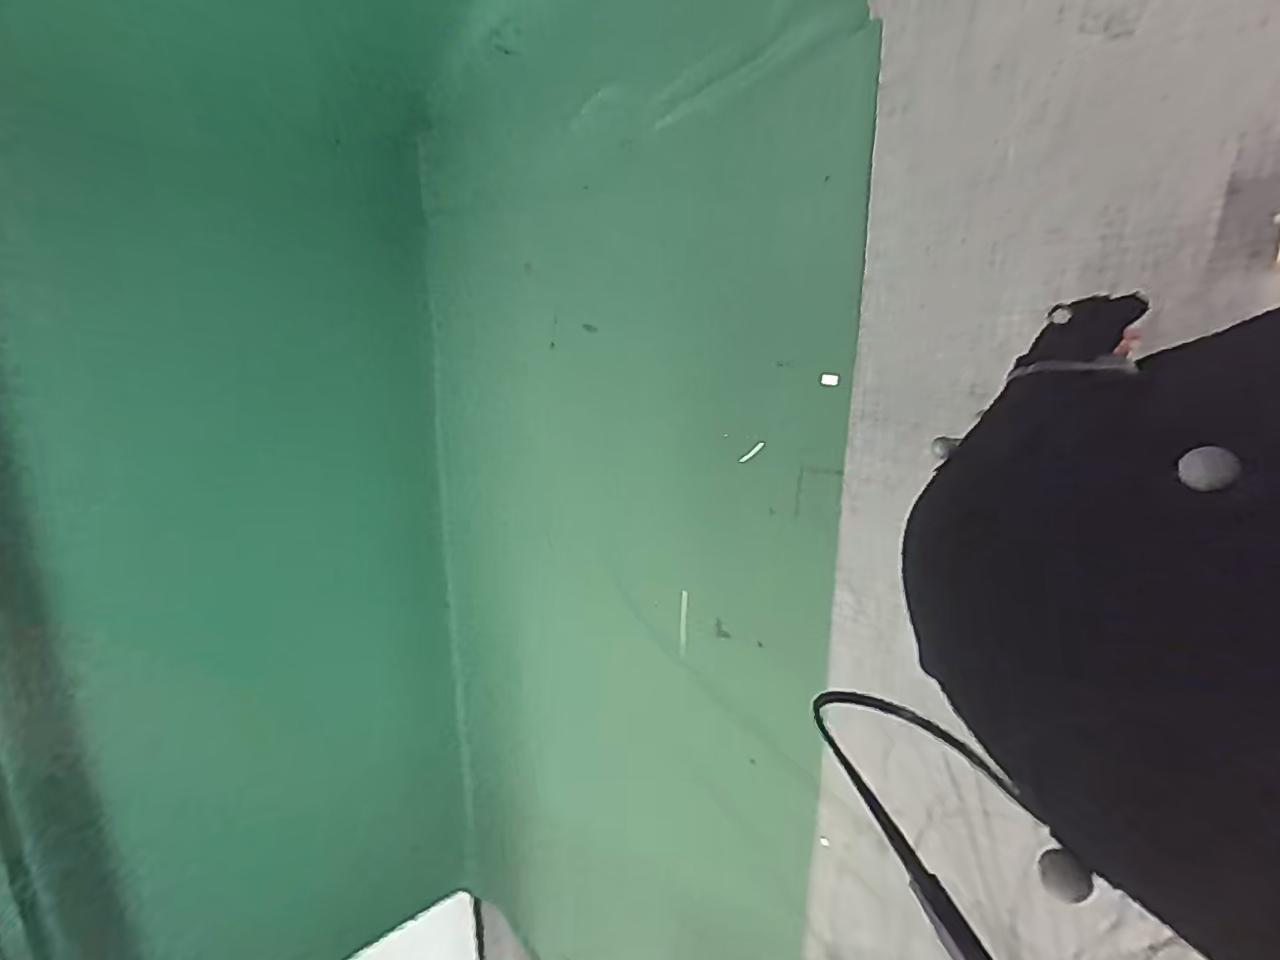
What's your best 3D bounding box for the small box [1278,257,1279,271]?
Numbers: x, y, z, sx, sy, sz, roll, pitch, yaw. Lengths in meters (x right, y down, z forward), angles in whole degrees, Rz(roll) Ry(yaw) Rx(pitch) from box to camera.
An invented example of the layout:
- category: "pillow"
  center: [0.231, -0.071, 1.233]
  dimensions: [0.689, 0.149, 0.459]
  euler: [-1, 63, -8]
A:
- category: "small box"
  center: [1.125, -0.410, 0.820]
  dimensions: [0.179, 0.176, 0.168]
  euler: [17, 110, 48]
